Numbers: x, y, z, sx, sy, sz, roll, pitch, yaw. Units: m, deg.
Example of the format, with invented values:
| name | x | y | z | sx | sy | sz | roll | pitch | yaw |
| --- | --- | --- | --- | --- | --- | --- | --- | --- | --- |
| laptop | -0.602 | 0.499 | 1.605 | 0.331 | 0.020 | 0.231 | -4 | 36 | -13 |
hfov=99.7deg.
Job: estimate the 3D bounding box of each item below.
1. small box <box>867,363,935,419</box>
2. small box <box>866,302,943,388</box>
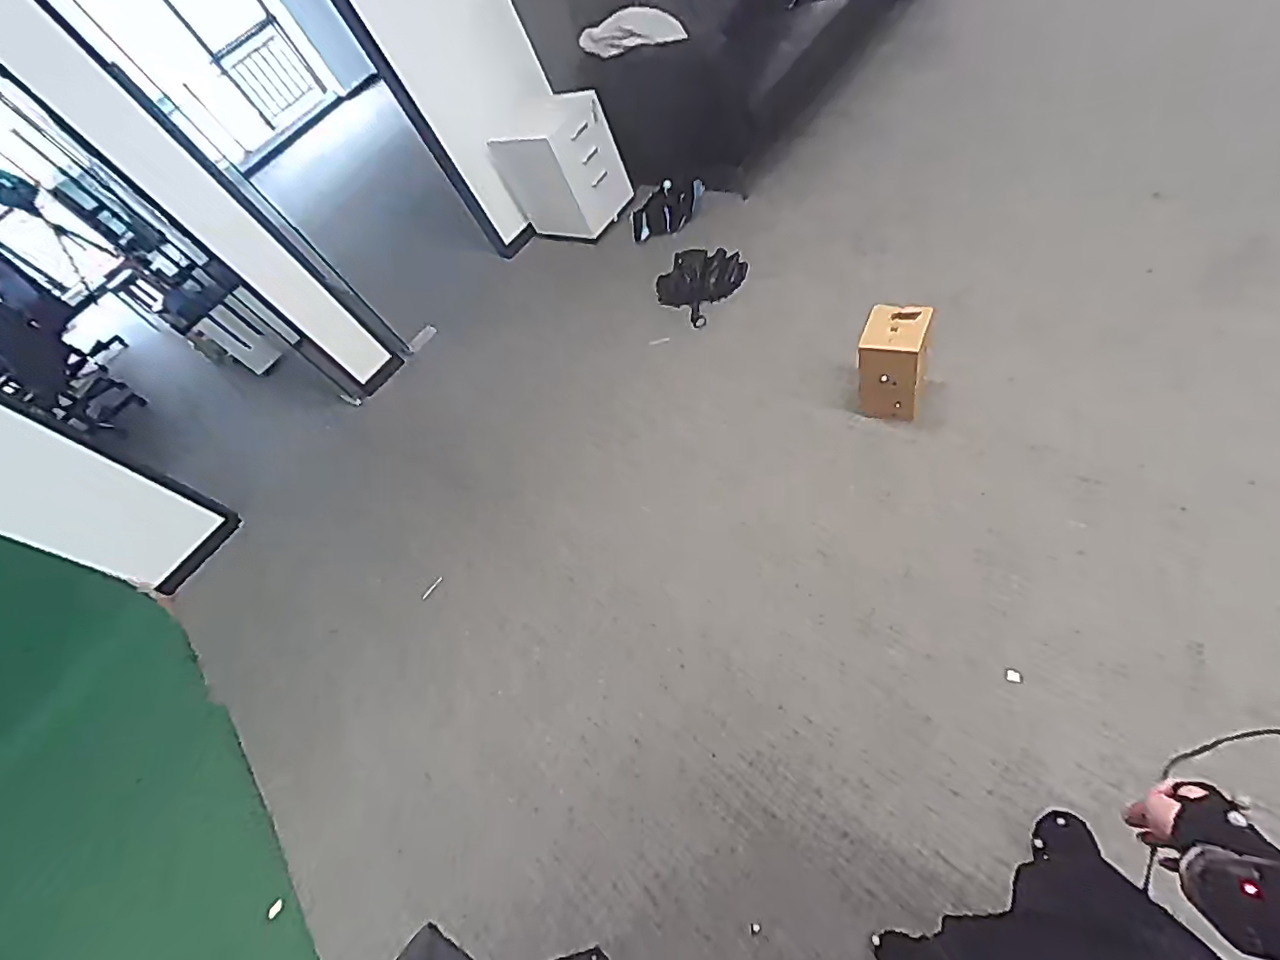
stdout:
| name | x | y | z | sx | sy | sz | roll | pitch | yaw |
| --- | --- | --- | --- | --- | --- | --- | --- | --- | --- |
| small box | 0.842 | -0.318 | 1.734 | 0.168 | 0.176 | 0.179 | 13 | 63 | 32 |
| small box | 0.783 | -0.401 | 1.604 | 0.168 | 0.176 | 0.179 | 14 | 66 | 33 |
